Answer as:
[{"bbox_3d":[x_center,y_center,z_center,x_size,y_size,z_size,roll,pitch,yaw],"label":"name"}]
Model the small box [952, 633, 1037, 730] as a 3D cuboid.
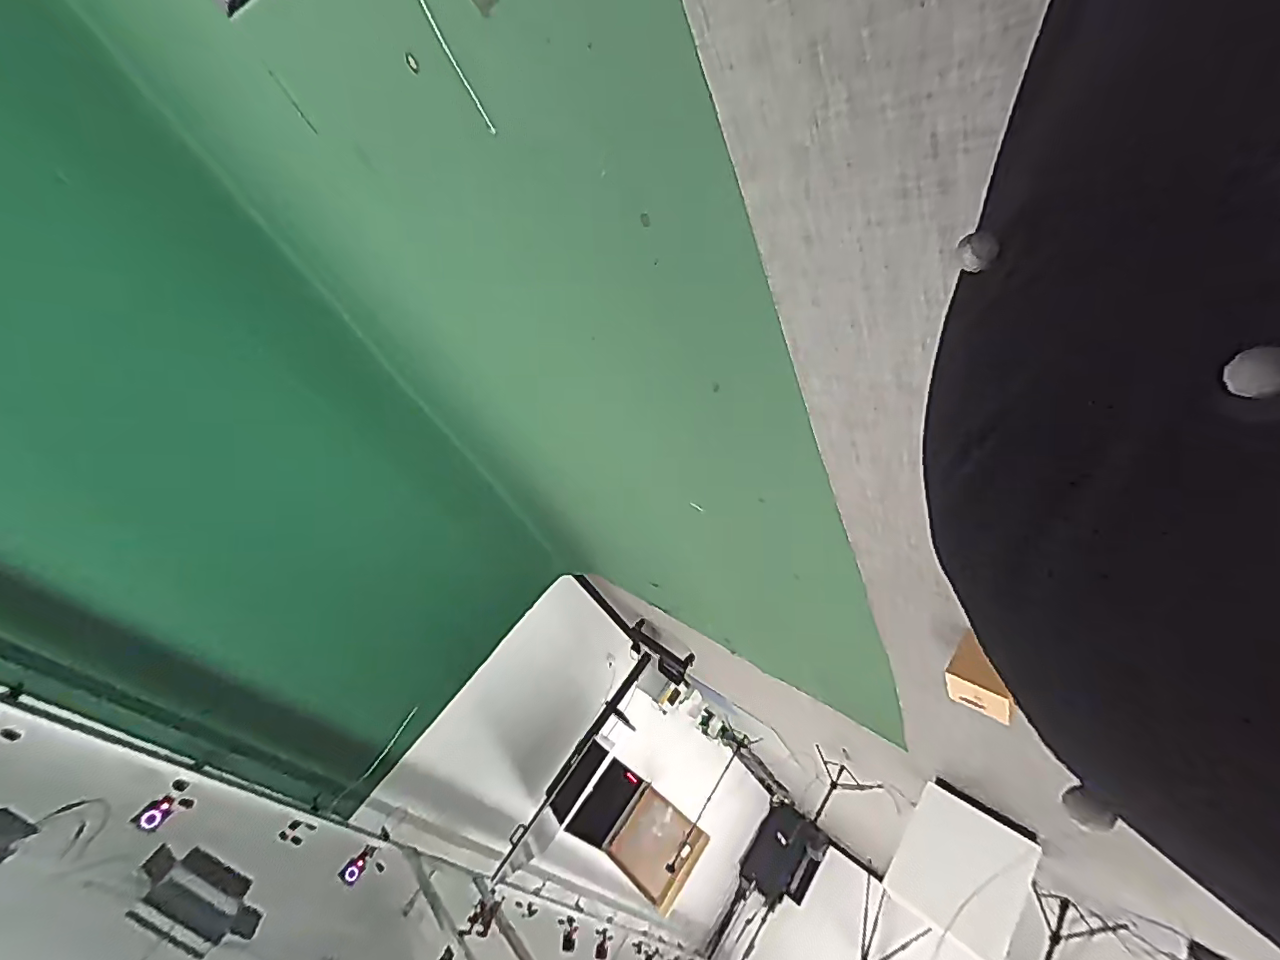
[{"bbox_3d":[1.039,0.585,1.581,0.168,0.176,0.179,18,148,46],"label":"small box"}]
